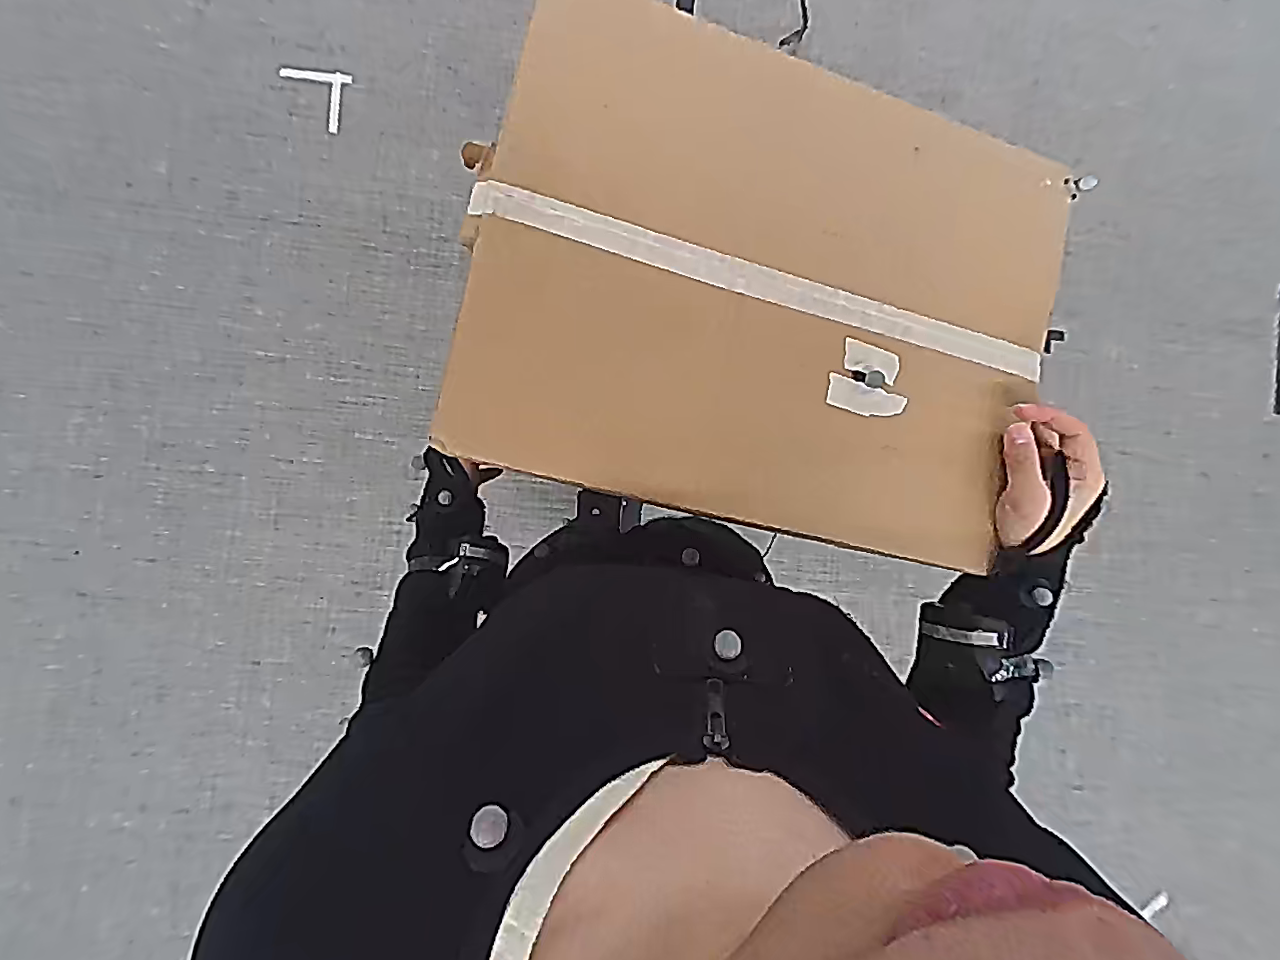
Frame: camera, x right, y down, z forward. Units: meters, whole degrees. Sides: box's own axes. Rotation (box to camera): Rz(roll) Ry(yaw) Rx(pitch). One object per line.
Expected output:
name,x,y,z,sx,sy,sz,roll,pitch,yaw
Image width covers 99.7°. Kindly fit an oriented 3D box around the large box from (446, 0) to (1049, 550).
large box,0.067,-0.135,0.518,0.408,0.320,0.320,13,89,-12
